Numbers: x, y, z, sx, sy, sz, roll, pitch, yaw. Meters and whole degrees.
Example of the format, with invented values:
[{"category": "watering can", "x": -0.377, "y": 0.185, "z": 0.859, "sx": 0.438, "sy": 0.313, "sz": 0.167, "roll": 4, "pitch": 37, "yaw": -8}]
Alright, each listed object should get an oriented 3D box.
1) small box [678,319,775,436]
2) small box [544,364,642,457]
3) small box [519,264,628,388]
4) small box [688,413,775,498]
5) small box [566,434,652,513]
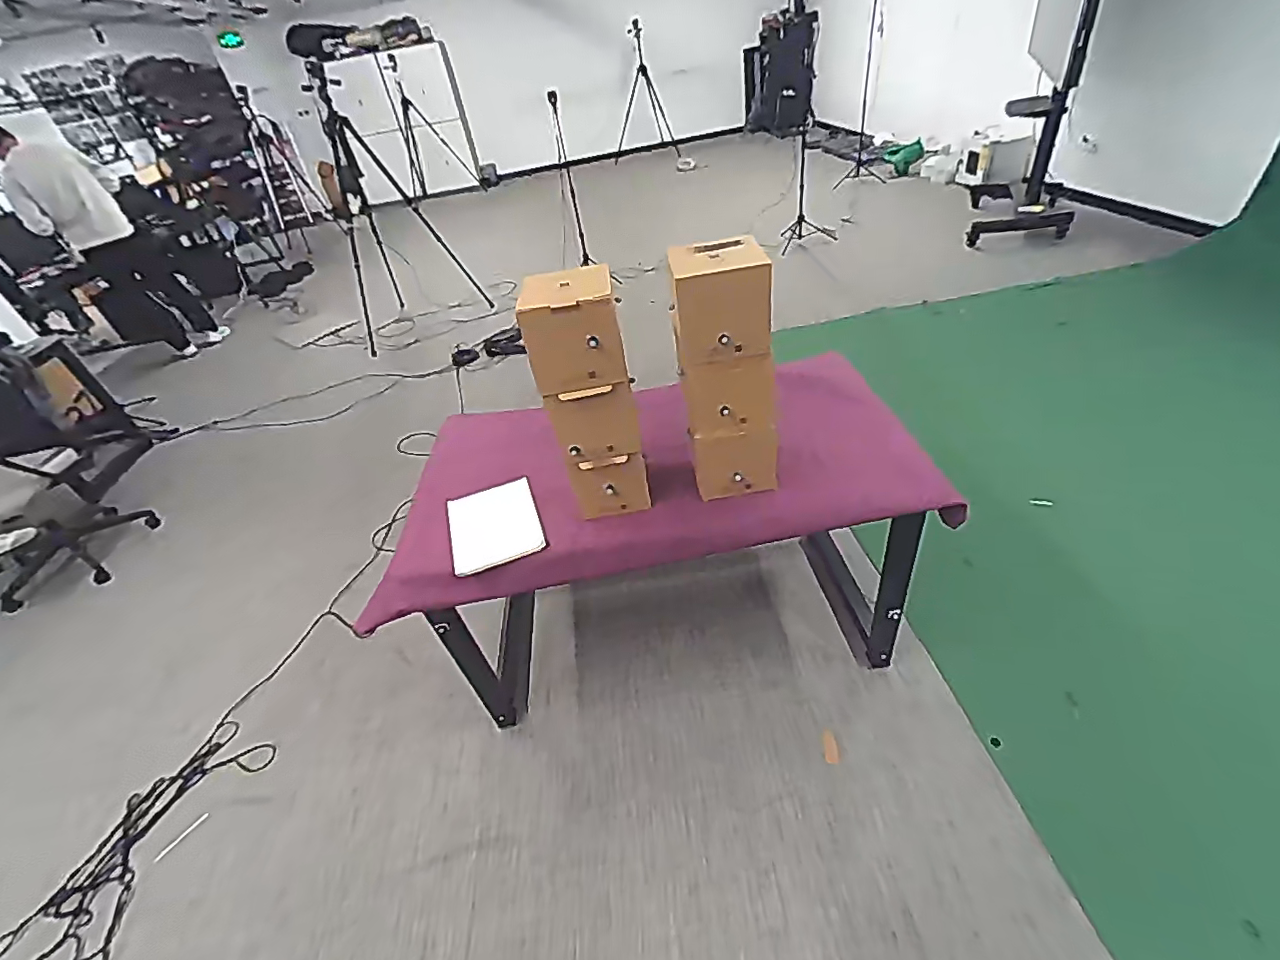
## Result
[{"category": "small box", "x": 0.176, "y": -0.213, "z": 1.124, "sx": 0.168, "sy": 0.176, "sz": 0.179, "roll": -9, "pitch": 38, "yaw": 2}, {"category": "small box", "x": -0.093, "y": -0.162, "z": 1.124, "sx": 0.168, "sy": 0.176, "sz": 0.179, "roll": -9, "pitch": 38, "yaw": 2}, {"category": "small box", "x": -0.116, "y": -0.283, "z": 1.018, "sx": 0.168, "sy": 0.176, "sz": 0.179, "roll": -8, "pitch": 38, "yaw": 2}, {"category": "small box", "x": 0.203, "y": -0.084, "z": 1.220, "sx": 0.168, "sy": 0.176, "sz": 0.179, "roll": -11, "pitch": 38, "yaw": 3}, {"category": "small box", "x": -0.069, "y": -0.040, "z": 1.233, "sx": 0.168, "sy": 0.176, "sz": 0.179, "roll": -9, "pitch": 40, "yaw": 2}]
